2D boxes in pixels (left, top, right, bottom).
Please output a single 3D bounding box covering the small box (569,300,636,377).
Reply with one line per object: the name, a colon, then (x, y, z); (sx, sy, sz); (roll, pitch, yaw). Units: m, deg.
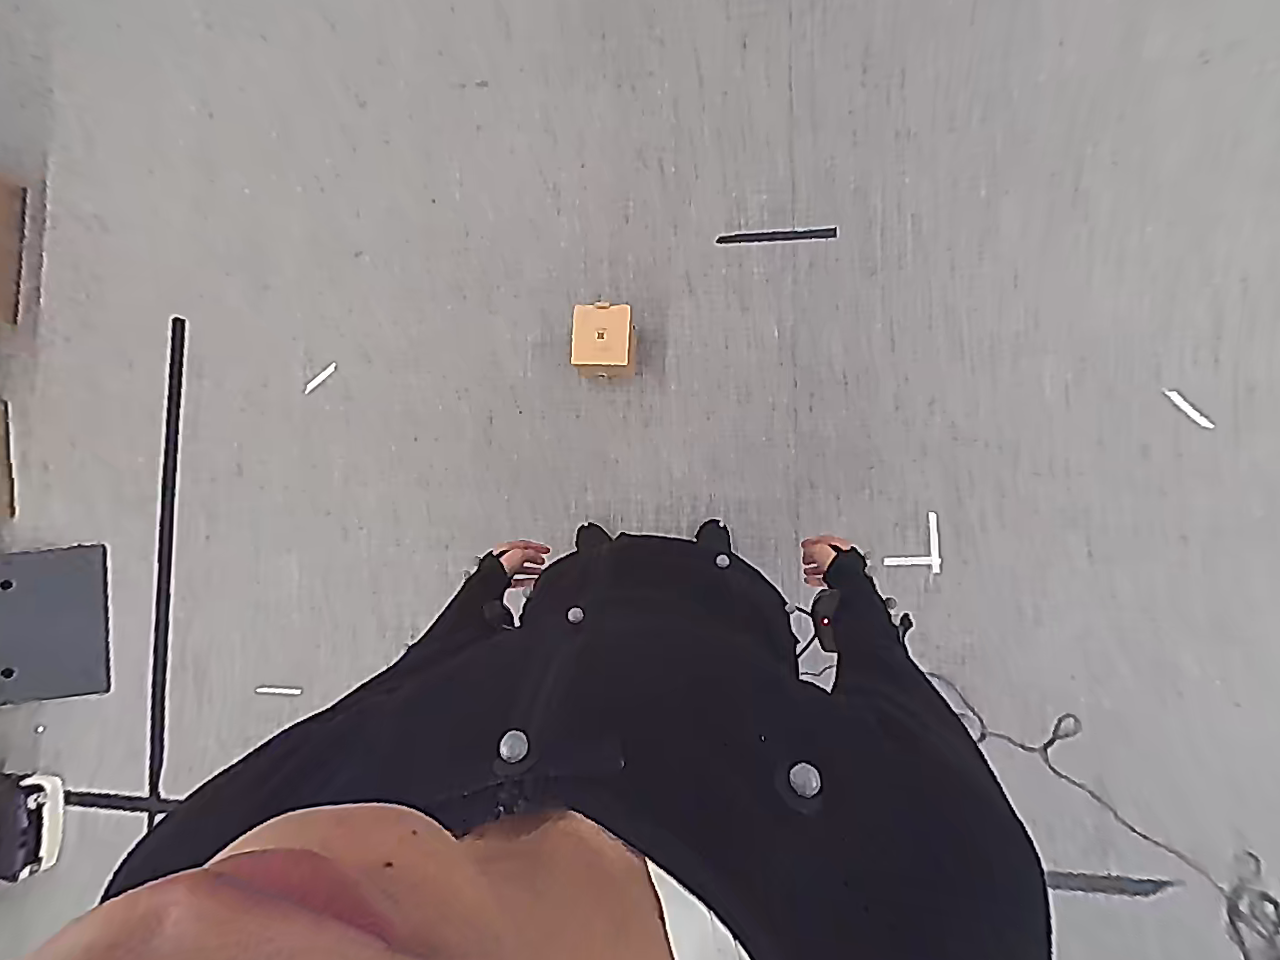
small box: (-0.106, -0.414, 1.599); (0.168, 0.176, 0.179); (3, 87, 7)
